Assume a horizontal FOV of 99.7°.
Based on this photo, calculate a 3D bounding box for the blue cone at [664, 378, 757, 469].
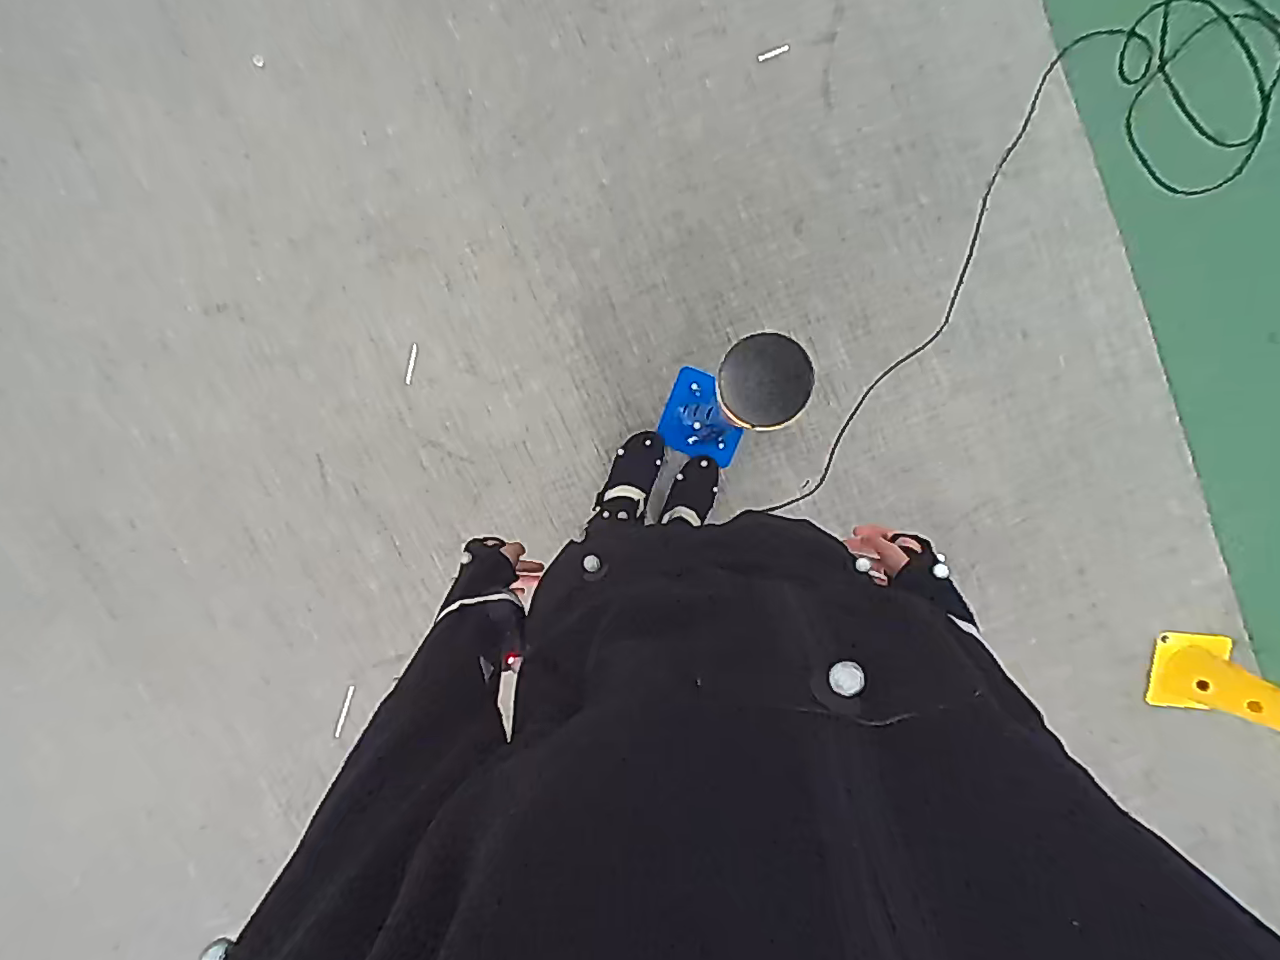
[{"bbox_3d":[0.163,-0.114,1.118,0.193,0.380,0.192,20,96,-1],"label":"blue cone"}]
